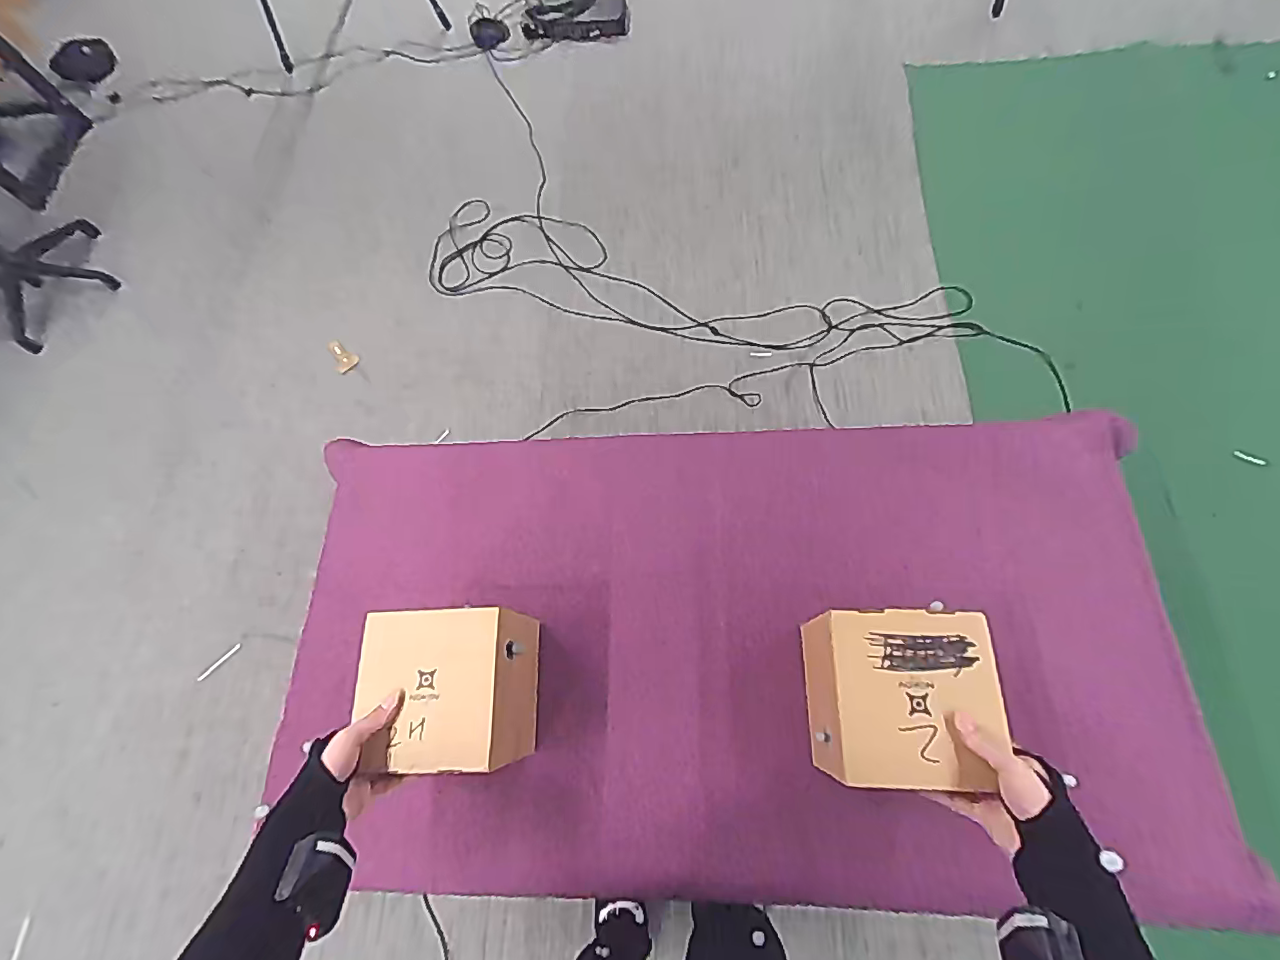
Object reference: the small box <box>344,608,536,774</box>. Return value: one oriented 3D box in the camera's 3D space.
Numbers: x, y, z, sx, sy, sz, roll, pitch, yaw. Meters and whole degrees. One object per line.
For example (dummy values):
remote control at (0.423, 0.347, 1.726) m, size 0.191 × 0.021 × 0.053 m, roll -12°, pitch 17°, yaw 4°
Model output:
small box at (-0.236, 0.266, 0.688) m, size 0.168 × 0.176 × 0.179 m, roll -4°, pitch 69°, yaw 6°
